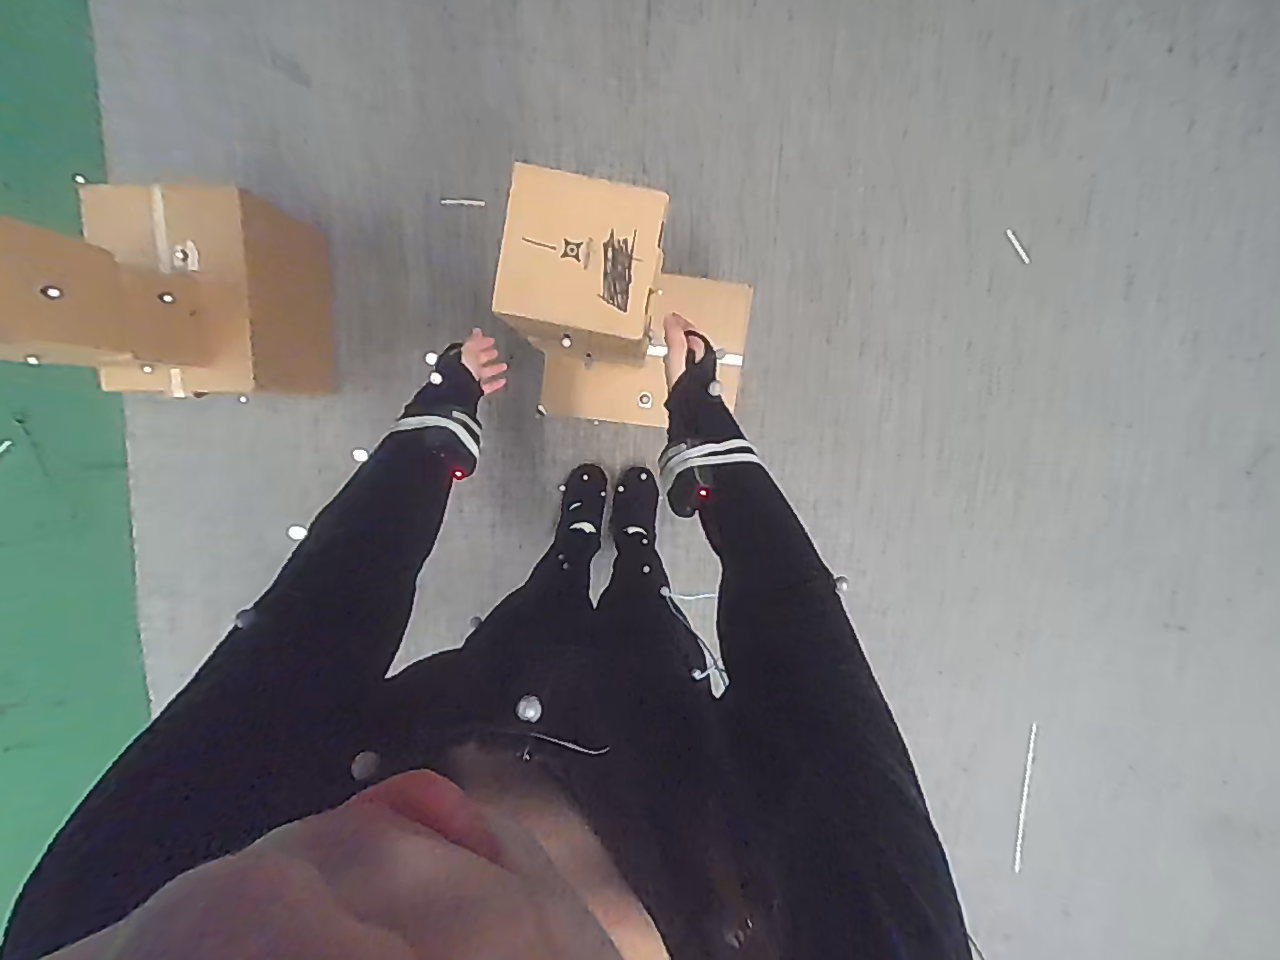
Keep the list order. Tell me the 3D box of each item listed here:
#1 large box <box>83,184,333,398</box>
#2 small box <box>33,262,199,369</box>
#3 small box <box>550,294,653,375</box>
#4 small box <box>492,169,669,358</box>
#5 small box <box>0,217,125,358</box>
[{"bbox_3d":[-0.943,-0.397,1.230,0.320,0.320,0.408,1,96,-1],"label":"large box"},{"bbox_3d":[-0.958,-0.297,0.997,0.179,0.176,0.168,0,97,0],"label":"small box"},{"bbox_3d":[-0.066,-0.298,1.015,0.168,0.176,0.179,7,95,-2],"label":"small box"},{"bbox_3d":[-0.069,-0.258,0.688,0.179,0.176,0.168,12,95,-1],"label":"small box"},{"bbox_3d":[-0.954,-0.284,0.833,0.168,0.176,0.179,-4,96,-1],"label":"small box"}]
